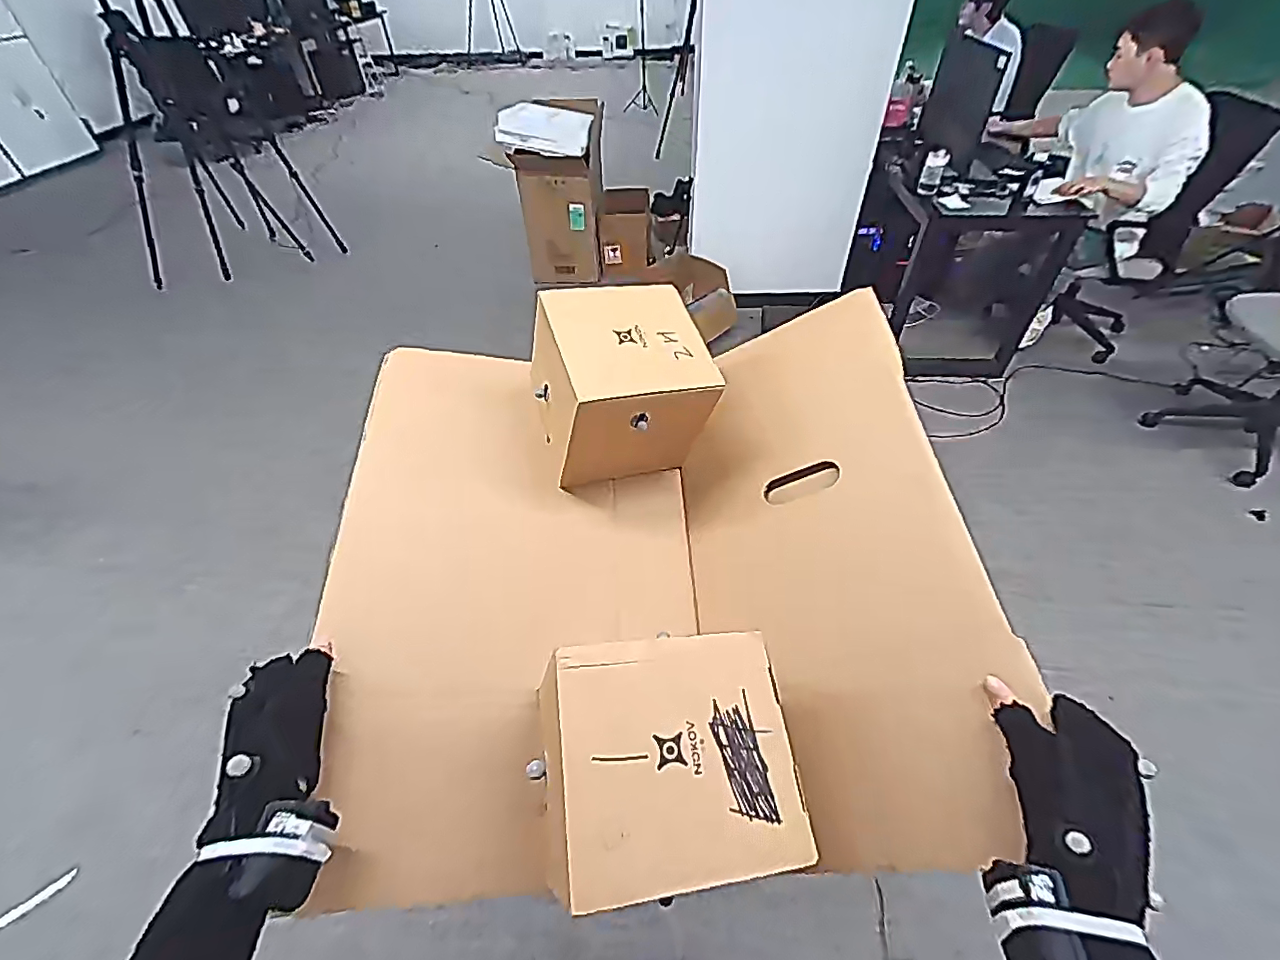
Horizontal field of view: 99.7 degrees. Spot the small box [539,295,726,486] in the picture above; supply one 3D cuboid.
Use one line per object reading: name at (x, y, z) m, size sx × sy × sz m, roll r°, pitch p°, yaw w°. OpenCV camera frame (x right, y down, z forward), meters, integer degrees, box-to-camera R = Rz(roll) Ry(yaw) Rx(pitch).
small box at (-0.025, -0.107, 0.673) m, size 0.179 × 0.176 × 0.168 m, roll -9°, pitch 62°, yaw -21°
